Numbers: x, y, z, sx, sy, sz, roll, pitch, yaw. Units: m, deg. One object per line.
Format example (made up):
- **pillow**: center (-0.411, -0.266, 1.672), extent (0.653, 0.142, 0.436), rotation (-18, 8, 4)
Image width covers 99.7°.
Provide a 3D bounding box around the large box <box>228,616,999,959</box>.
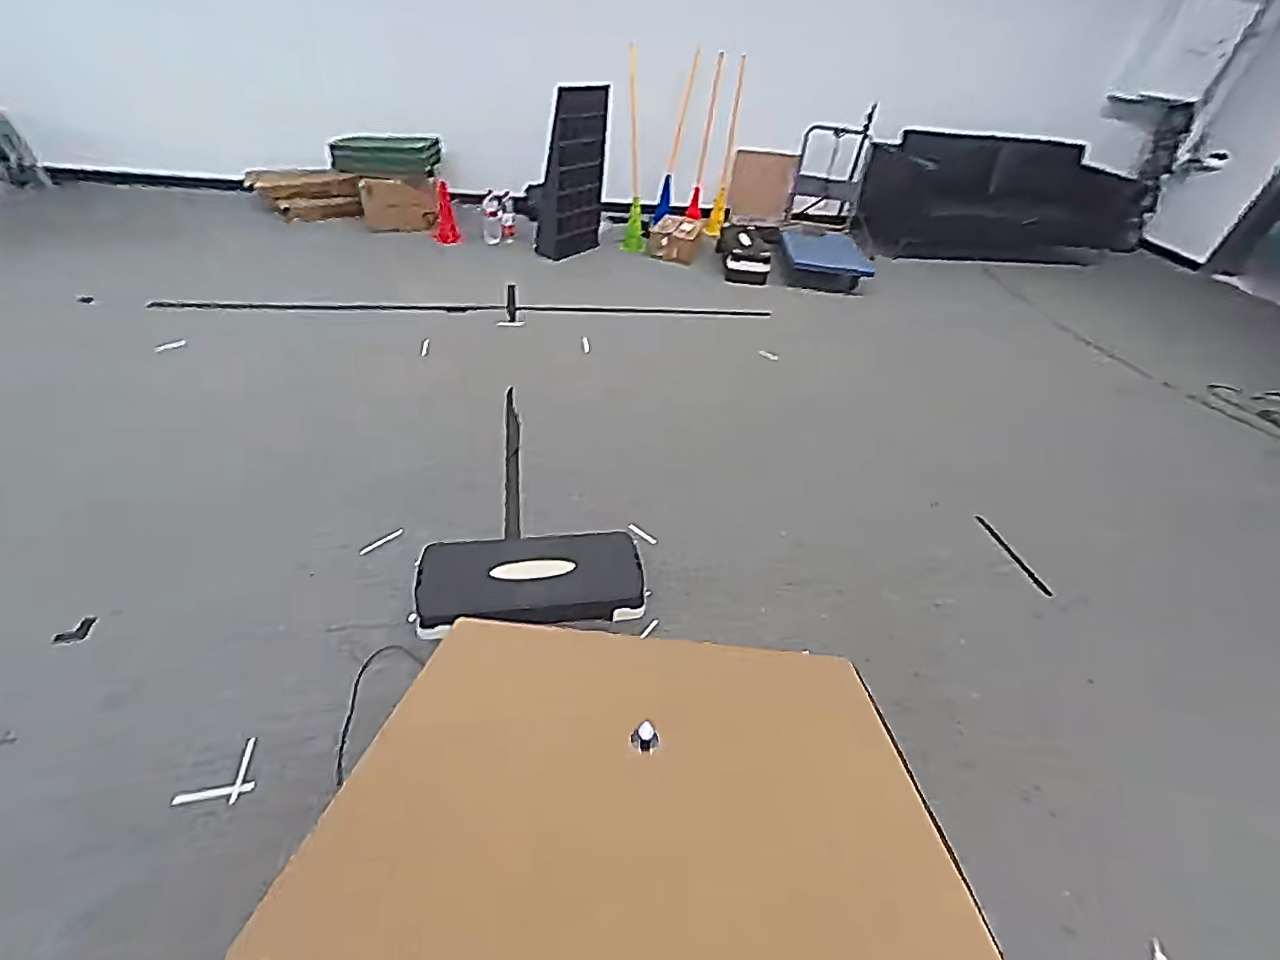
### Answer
- **large box**: center (-0.015, 0.336, 0.454), extent (0.408, 0.320, 0.320), rotation (4, 19, 1)
